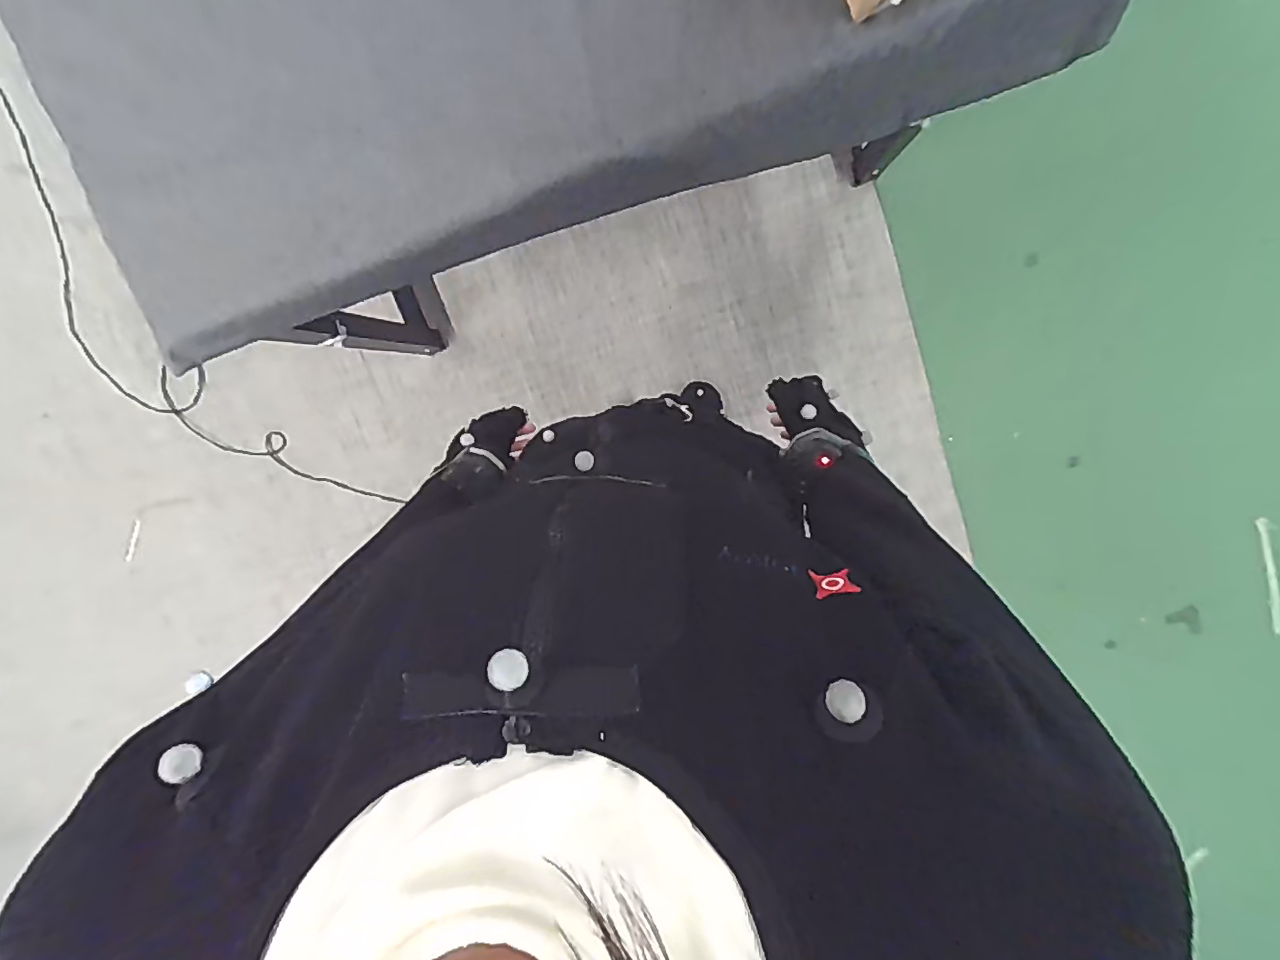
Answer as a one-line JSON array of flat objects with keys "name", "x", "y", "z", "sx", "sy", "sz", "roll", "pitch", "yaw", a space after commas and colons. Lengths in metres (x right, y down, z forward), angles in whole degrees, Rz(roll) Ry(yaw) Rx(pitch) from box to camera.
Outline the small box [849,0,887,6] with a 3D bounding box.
[{"name": "small box", "x": 0.262, "y": -0.587, "z": 0.486, "sx": 0.168, "sy": 0.176, "sz": 0.179, "roll": -23, "pitch": 96, "yaw": 8}]
